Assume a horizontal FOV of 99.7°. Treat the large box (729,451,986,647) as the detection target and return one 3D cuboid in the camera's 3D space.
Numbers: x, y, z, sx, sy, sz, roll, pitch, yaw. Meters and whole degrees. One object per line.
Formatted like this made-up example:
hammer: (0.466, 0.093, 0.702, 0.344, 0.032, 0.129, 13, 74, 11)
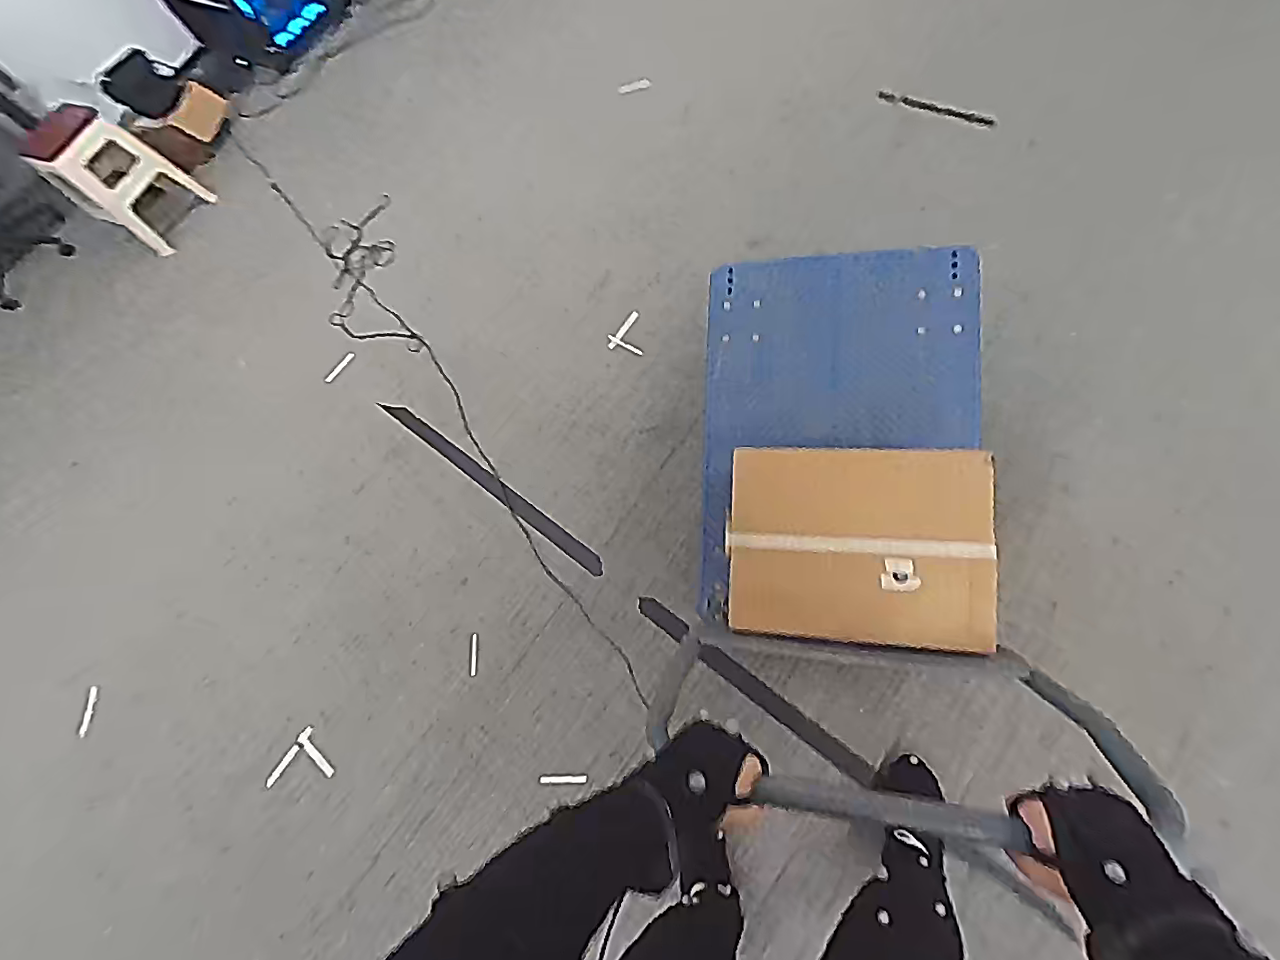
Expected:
large box: (0.386, 0.122, 1.045, 0.408, 0.320, 0.320, 2, 85, 14)
